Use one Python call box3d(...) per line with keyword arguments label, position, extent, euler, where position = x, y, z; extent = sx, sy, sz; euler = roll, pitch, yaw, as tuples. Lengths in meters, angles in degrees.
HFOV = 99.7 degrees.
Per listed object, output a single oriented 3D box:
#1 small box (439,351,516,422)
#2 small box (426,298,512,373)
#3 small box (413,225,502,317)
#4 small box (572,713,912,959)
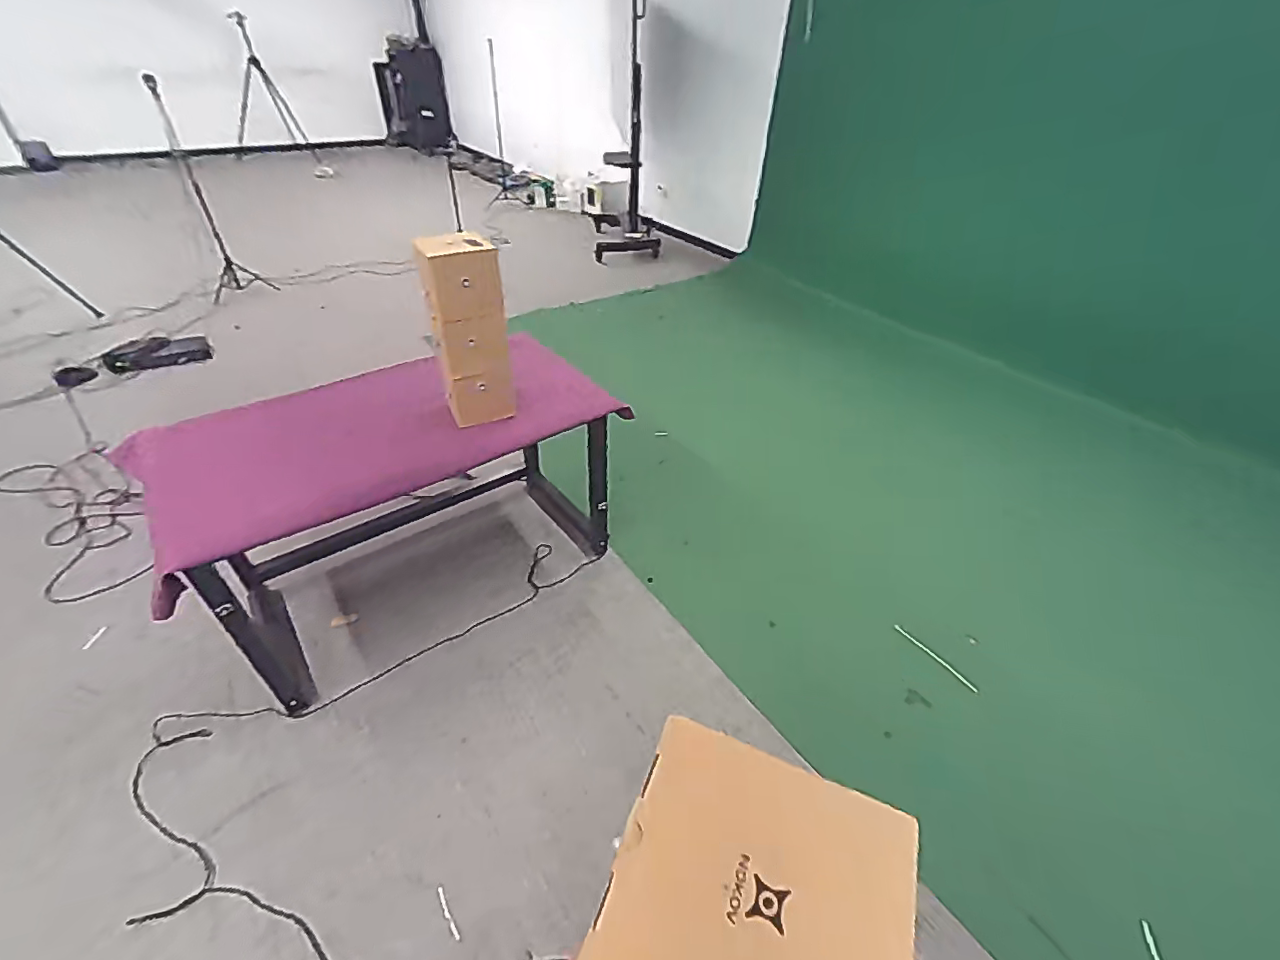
box3d(label="small box", position=(-0.484, -0.293, 1.621), extent=(0.179, 0.176, 0.168), euler=(-16, 44, -22))
box3d(label="small box", position=(-0.476, -0.418, 1.515), extent=(0.179, 0.176, 0.168), euler=(-20, 46, -23))
box3d(label="small box", position=(-0.469, -0.545, 1.411), extent=(0.179, 0.176, 0.168), euler=(-21, 46, -24))
box3d(label="small box", position=(0.064, 0.301, 0.378), extent=(0.179, 0.176, 0.168), euler=(17, 47, 13))
